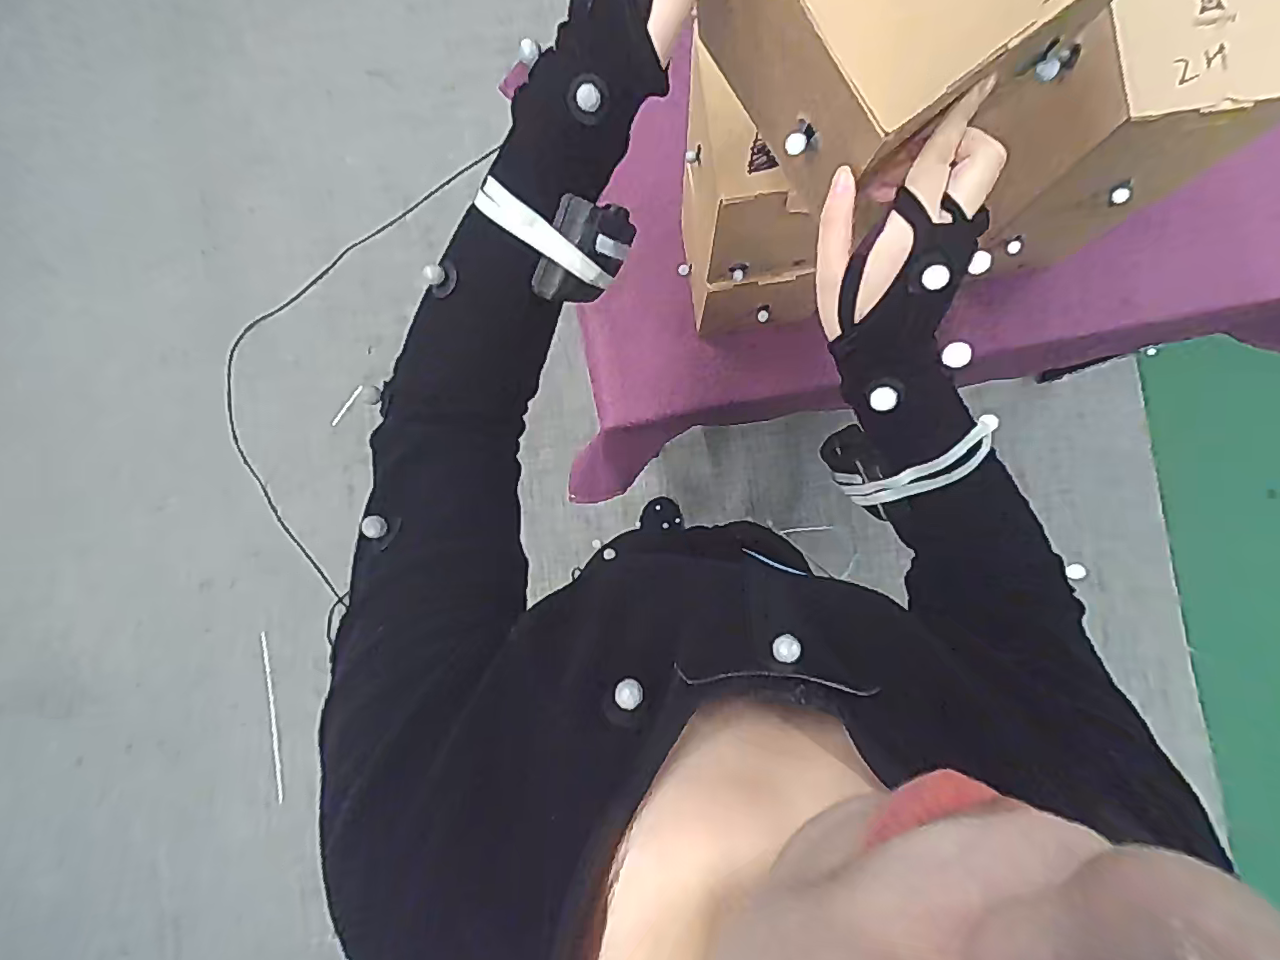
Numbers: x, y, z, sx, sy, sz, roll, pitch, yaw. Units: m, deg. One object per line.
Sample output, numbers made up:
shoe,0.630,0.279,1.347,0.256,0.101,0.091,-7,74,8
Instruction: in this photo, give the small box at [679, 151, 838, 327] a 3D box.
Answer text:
small box,0.146,-0.316,0.722,0.168,0.176,0.179,-8,88,1

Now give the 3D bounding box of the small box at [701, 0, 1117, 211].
small box,0.146,-0.287,0.314,0.168,0.176,0.179,-32,94,11

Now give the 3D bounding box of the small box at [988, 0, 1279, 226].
small box,0.487,-0.390,0.548,0.168,0.176,0.179,-6,87,2

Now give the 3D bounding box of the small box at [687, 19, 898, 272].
small box,0.142,-0.332,0.557,0.168,0.176,0.179,-7,86,2
